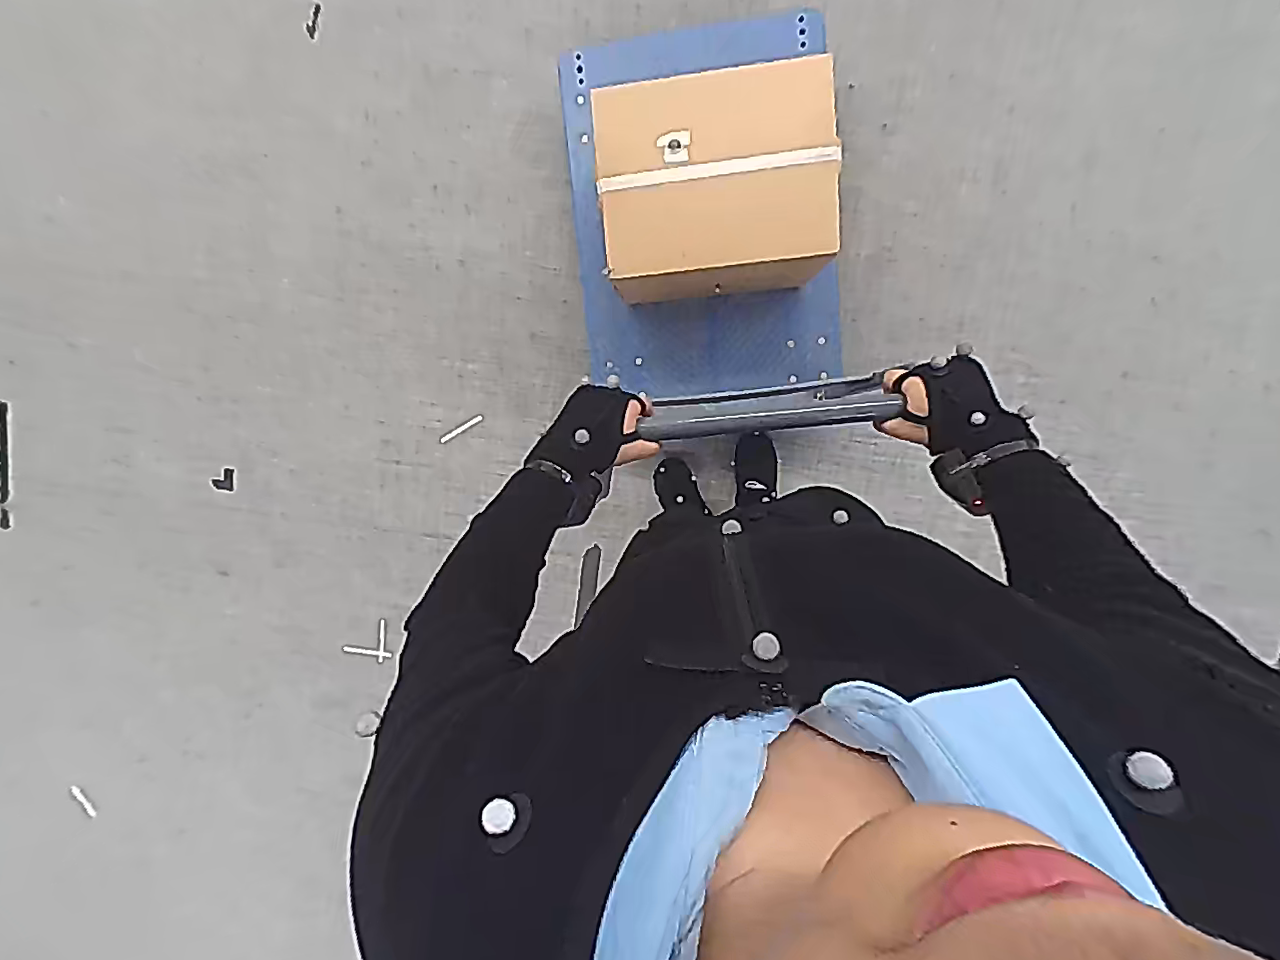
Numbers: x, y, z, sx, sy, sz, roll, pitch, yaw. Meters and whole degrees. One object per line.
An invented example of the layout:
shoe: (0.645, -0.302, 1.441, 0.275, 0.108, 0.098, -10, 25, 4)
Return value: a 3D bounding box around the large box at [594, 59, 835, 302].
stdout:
large box: (0.146, -0.559, 1.090, 0.408, 0.320, 0.320, -5, 98, 7)
